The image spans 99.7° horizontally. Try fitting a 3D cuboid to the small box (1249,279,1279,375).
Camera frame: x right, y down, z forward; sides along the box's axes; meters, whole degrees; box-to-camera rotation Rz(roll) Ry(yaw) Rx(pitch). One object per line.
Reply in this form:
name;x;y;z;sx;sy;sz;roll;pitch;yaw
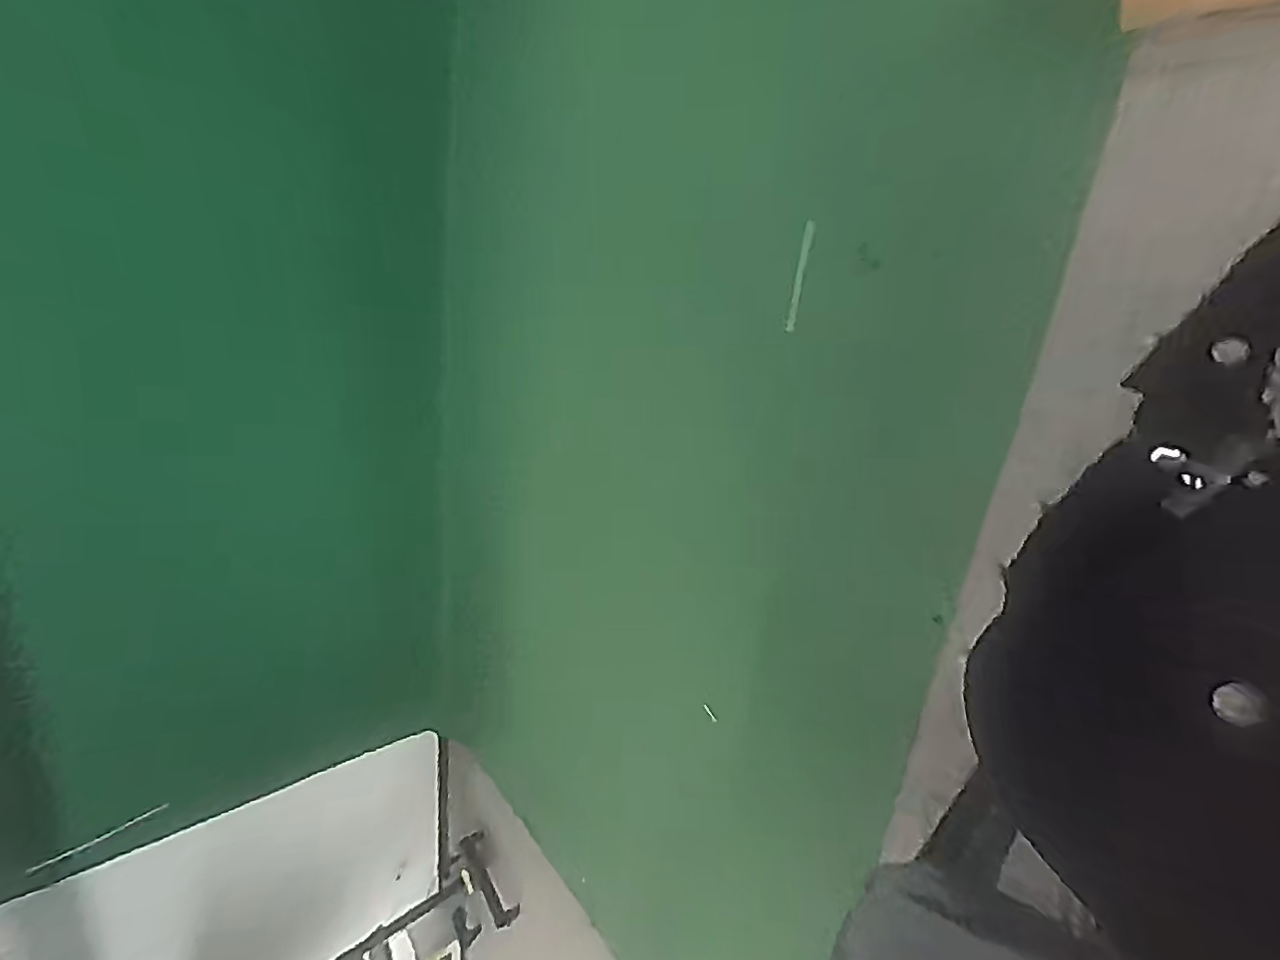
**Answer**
small box;1.137;-0.257;0.854;0.179;0.176;0.168;-41;37;21
